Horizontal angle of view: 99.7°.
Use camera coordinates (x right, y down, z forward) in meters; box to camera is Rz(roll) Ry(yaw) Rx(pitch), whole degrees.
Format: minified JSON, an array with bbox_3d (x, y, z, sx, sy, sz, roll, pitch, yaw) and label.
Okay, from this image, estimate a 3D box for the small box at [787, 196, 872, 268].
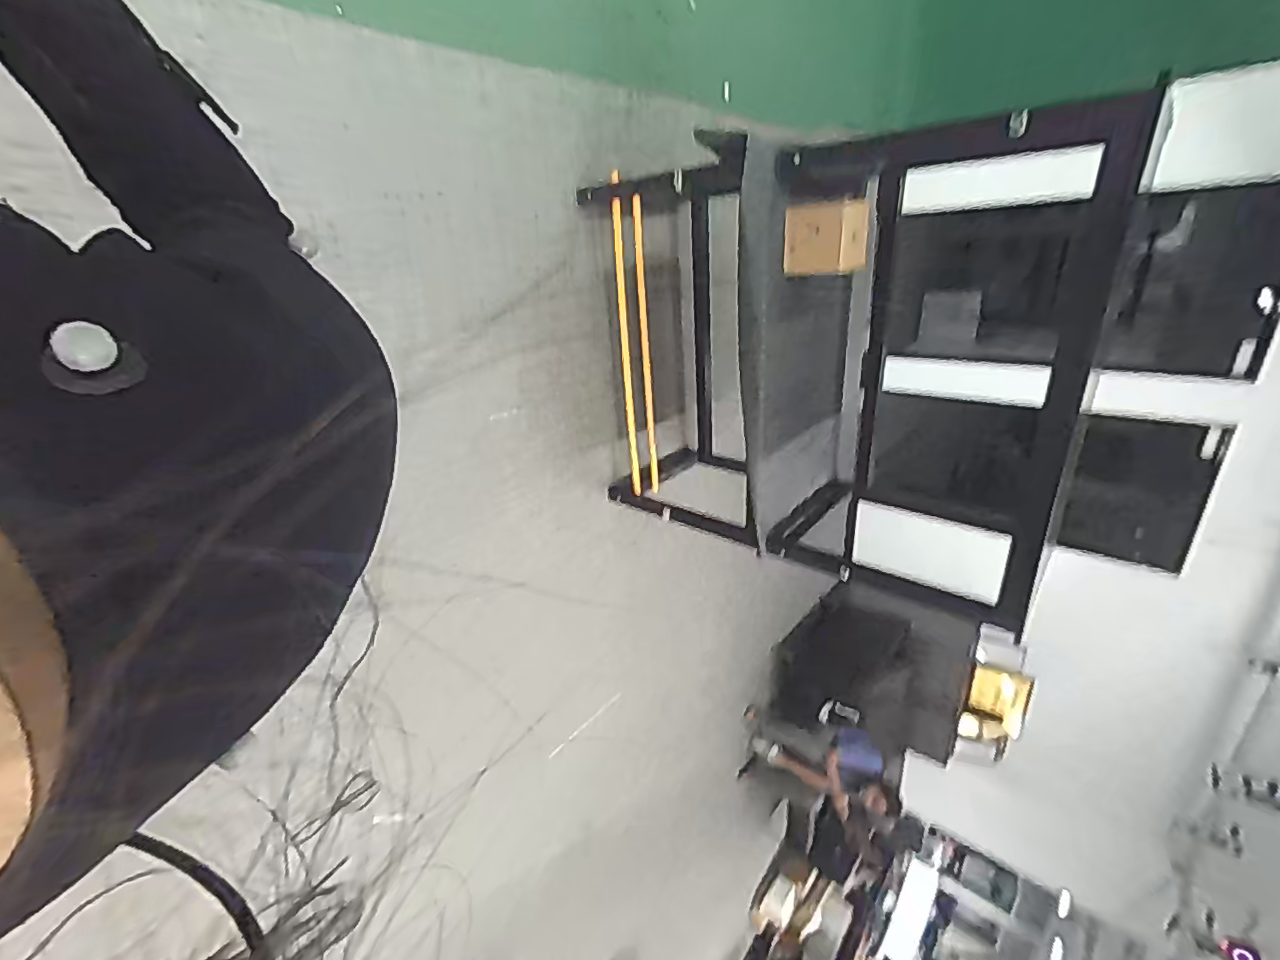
[{"bbox_3d":[0.519,-0.682,1.491,0.179,0.176,0.168,-30,125,-41],"label":"small box"}]
